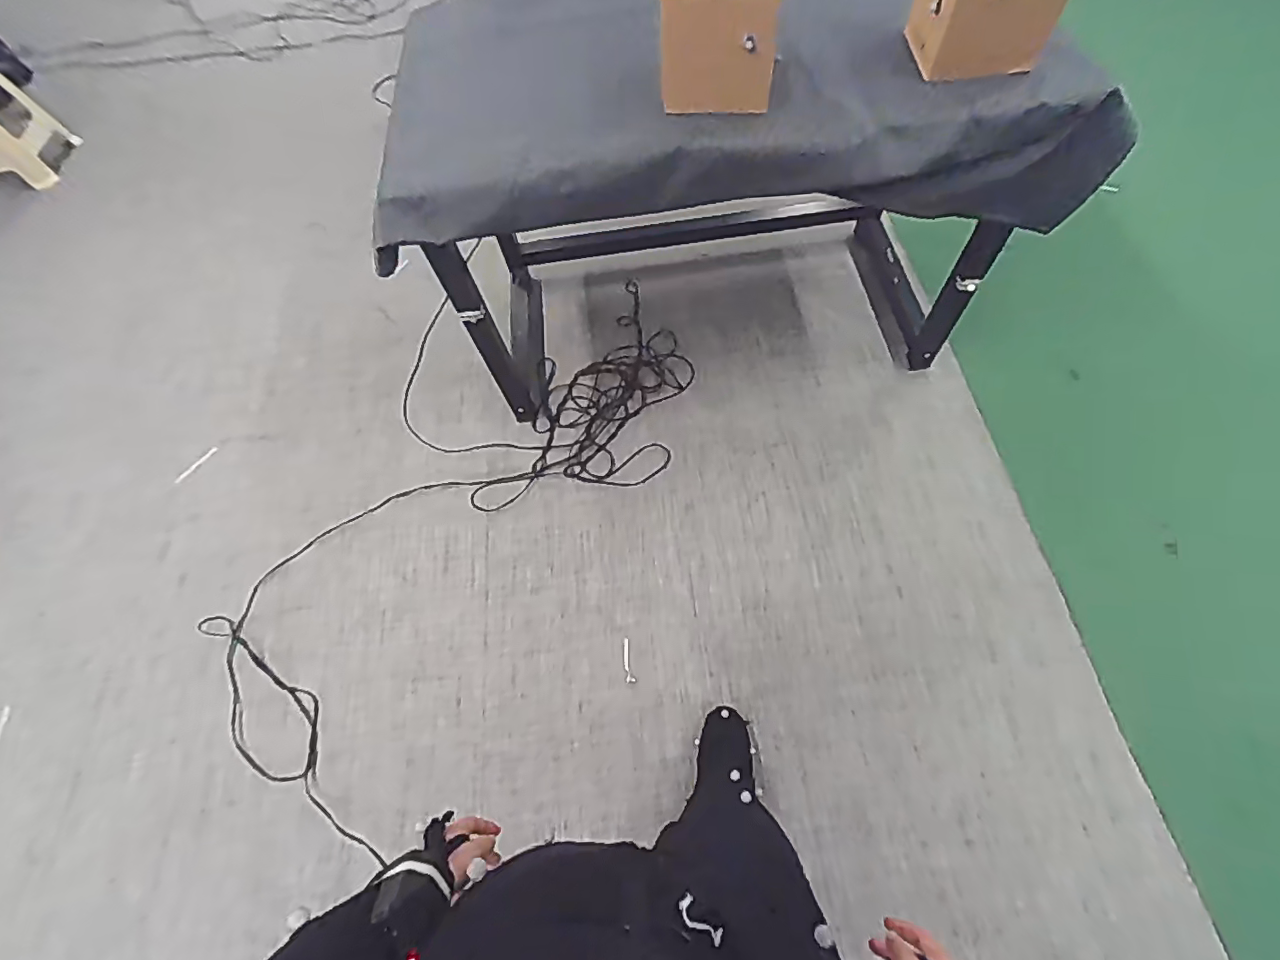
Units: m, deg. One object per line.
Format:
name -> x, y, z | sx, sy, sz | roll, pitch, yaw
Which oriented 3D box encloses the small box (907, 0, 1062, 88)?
small box -> 0.554, -0.767, 0.872 | 0.179, 0.176, 0.168 | -2, 64, 4
